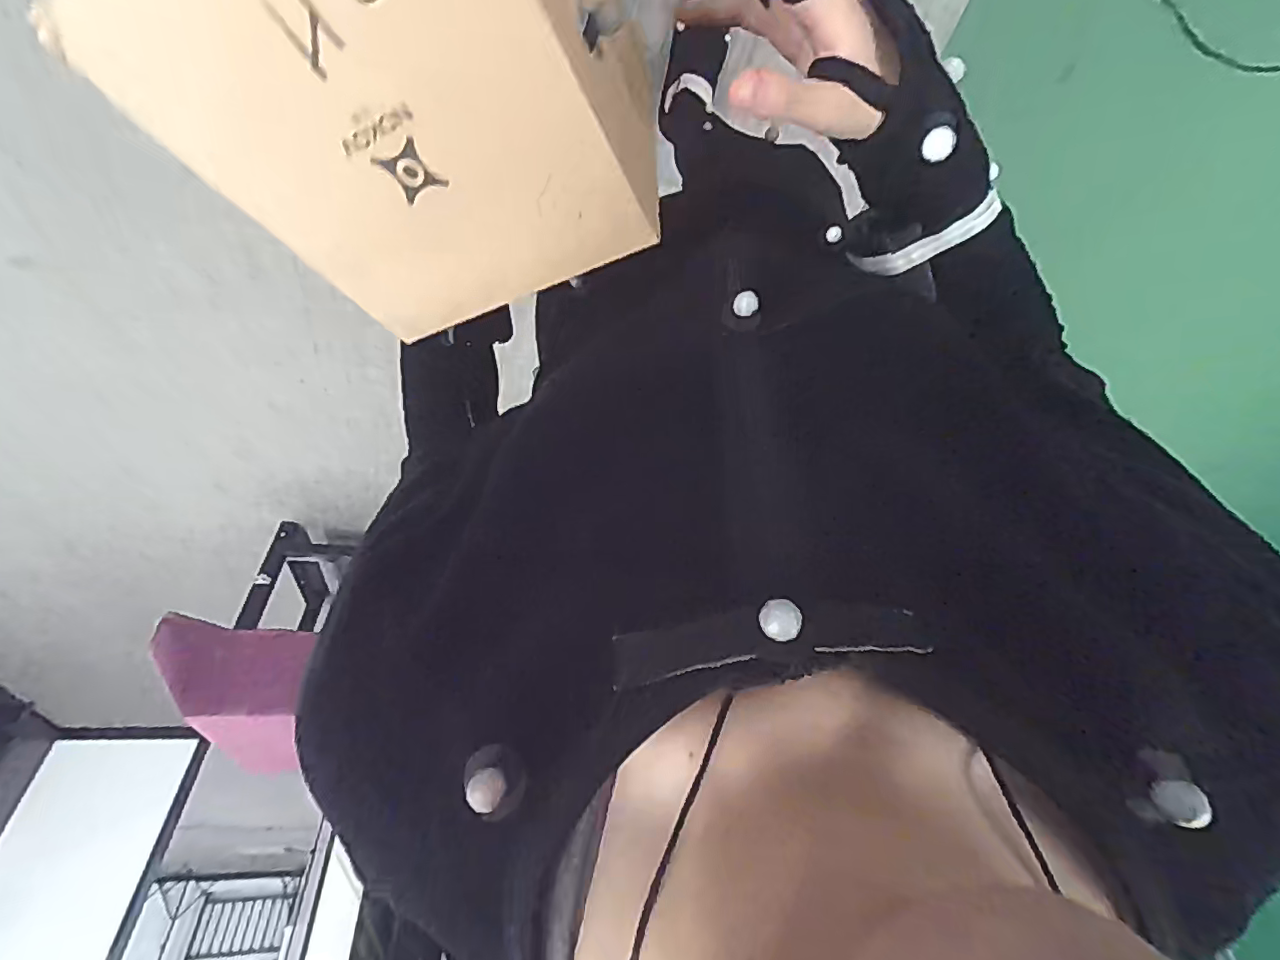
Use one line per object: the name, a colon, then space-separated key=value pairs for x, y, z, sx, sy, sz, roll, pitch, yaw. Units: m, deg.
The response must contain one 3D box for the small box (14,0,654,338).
small box: x=-0.100 y=-0.206 z=0.257 sx=0.168 sy=0.176 sz=0.179 roll=-14 pitch=148 yaw=20
